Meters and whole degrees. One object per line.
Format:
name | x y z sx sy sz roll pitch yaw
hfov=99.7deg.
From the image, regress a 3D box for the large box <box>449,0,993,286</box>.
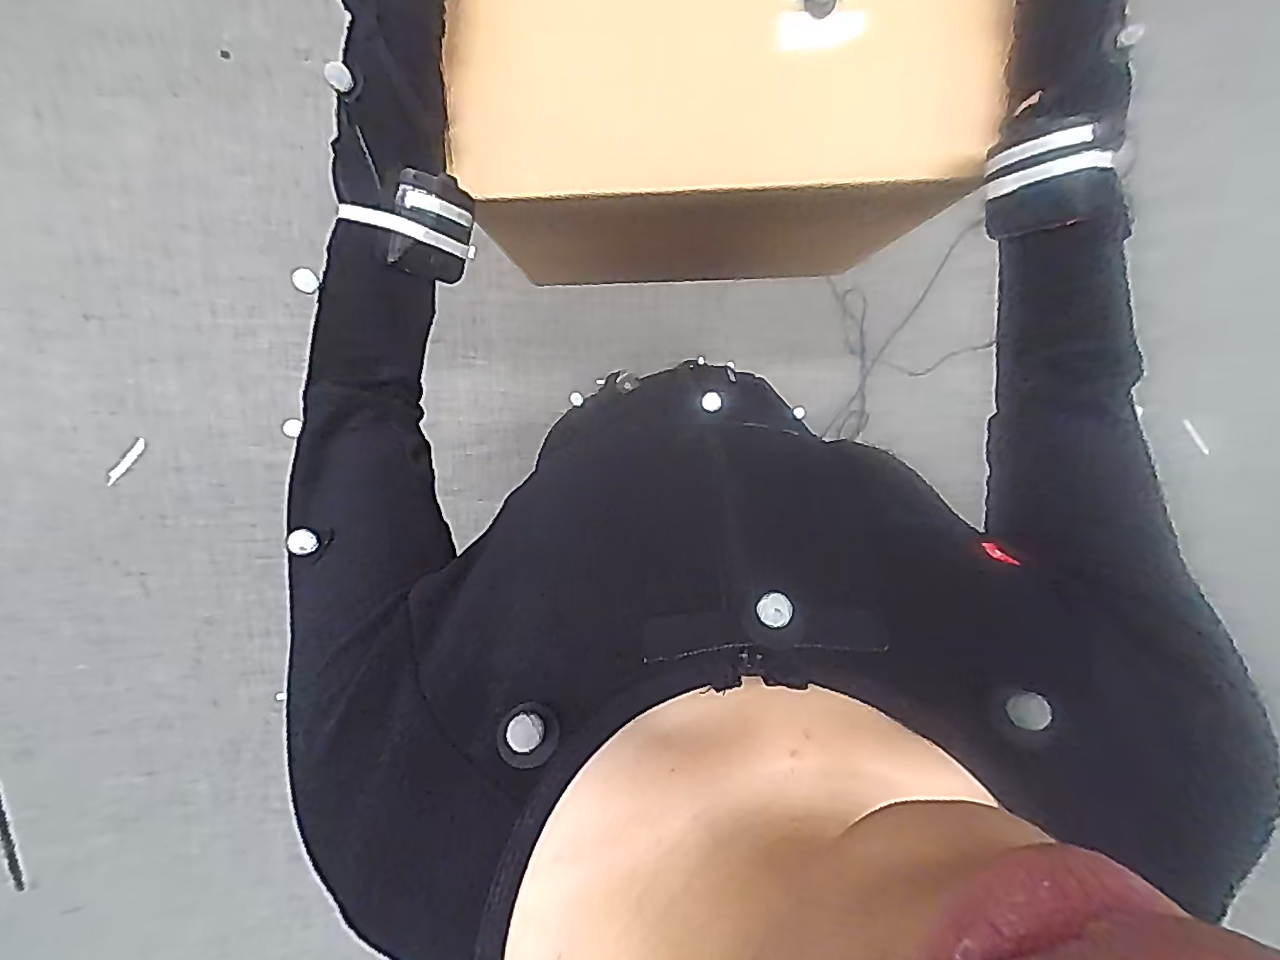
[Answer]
large box | 0.055 -0.395 0.537 0.408 0.320 0.320 -3 98 0
